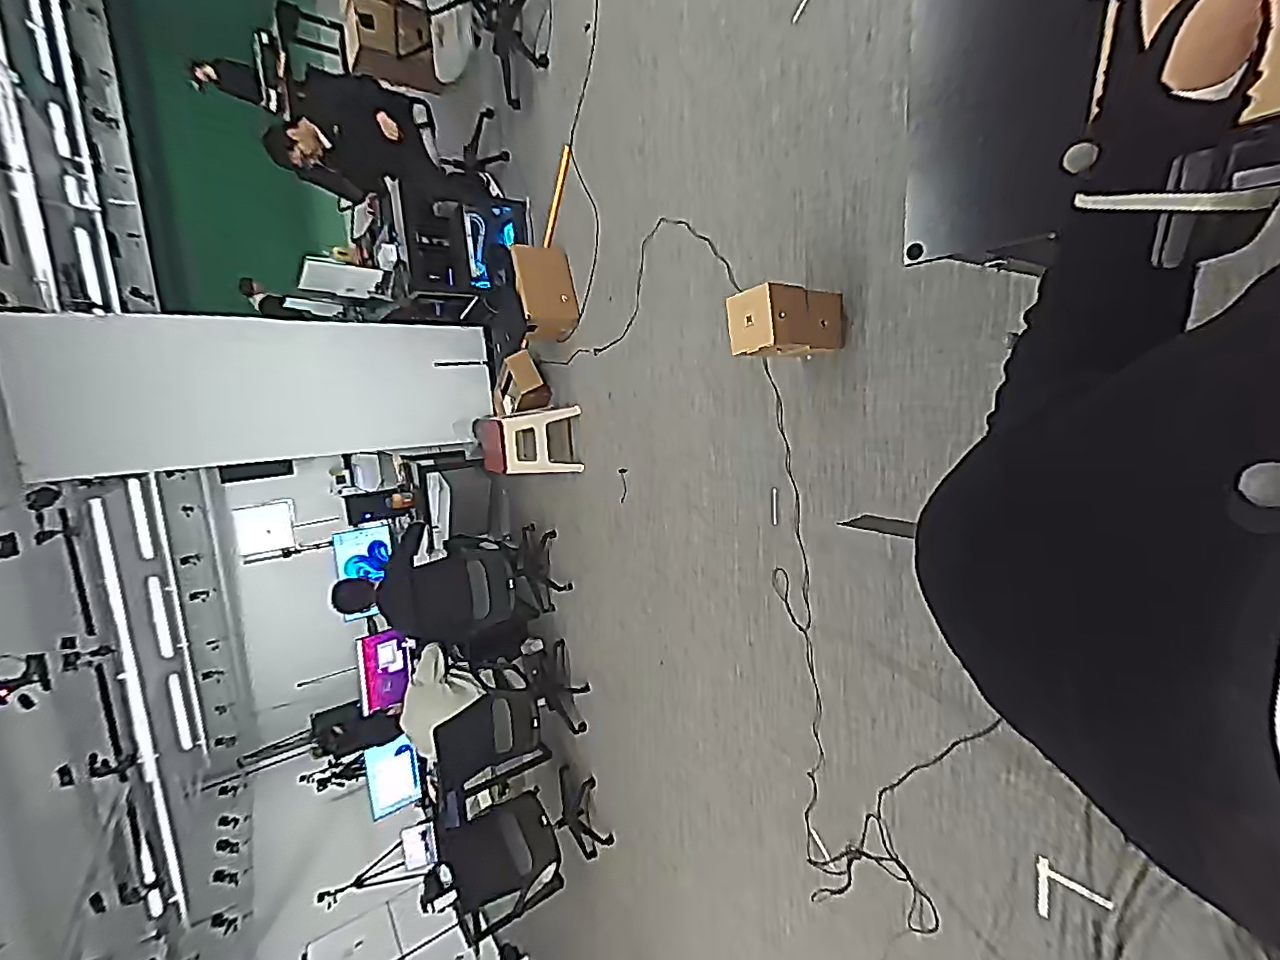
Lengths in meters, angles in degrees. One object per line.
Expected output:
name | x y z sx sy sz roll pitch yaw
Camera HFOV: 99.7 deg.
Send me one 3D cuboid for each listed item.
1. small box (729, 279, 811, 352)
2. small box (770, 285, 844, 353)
small box | 0.388 -0.482 1.605 0.168 0.176 0.179 -1 96 54
small box | 0.521 -0.498 1.699 0.168 0.176 0.179 3 101 55
